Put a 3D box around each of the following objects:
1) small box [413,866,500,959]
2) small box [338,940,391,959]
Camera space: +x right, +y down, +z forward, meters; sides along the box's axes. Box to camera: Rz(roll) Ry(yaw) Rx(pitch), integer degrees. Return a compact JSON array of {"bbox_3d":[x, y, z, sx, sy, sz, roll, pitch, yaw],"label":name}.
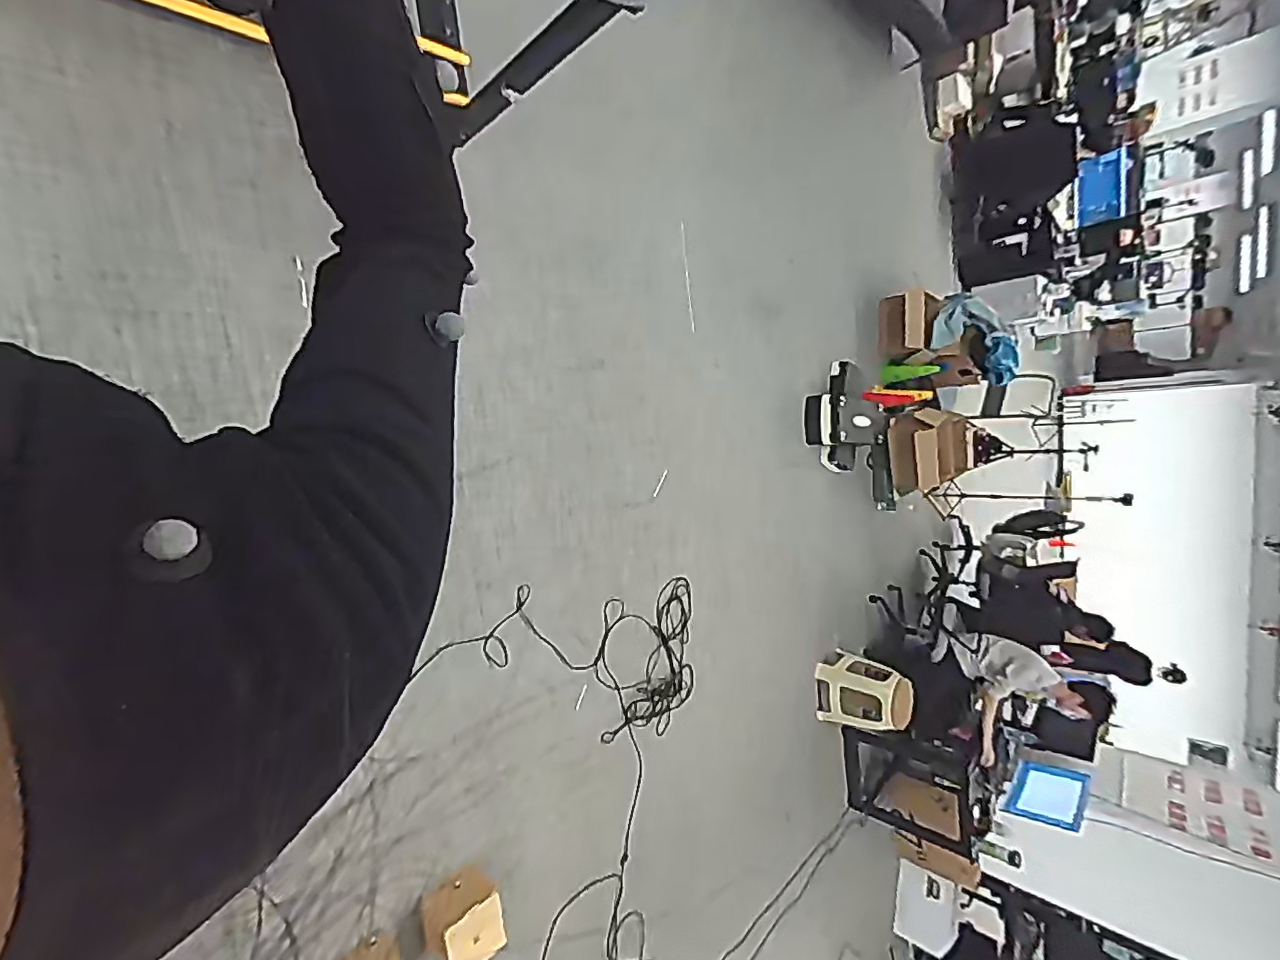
[{"bbox_3d":[-0.521,1.255,1.530,0.168,0.176,0.179,-13,100,-45],"label":"small box"},{"bbox_3d":[-0.702,1.302,1.341,0.168,0.176,0.179,-14,101,-45],"label":"small box"}]
